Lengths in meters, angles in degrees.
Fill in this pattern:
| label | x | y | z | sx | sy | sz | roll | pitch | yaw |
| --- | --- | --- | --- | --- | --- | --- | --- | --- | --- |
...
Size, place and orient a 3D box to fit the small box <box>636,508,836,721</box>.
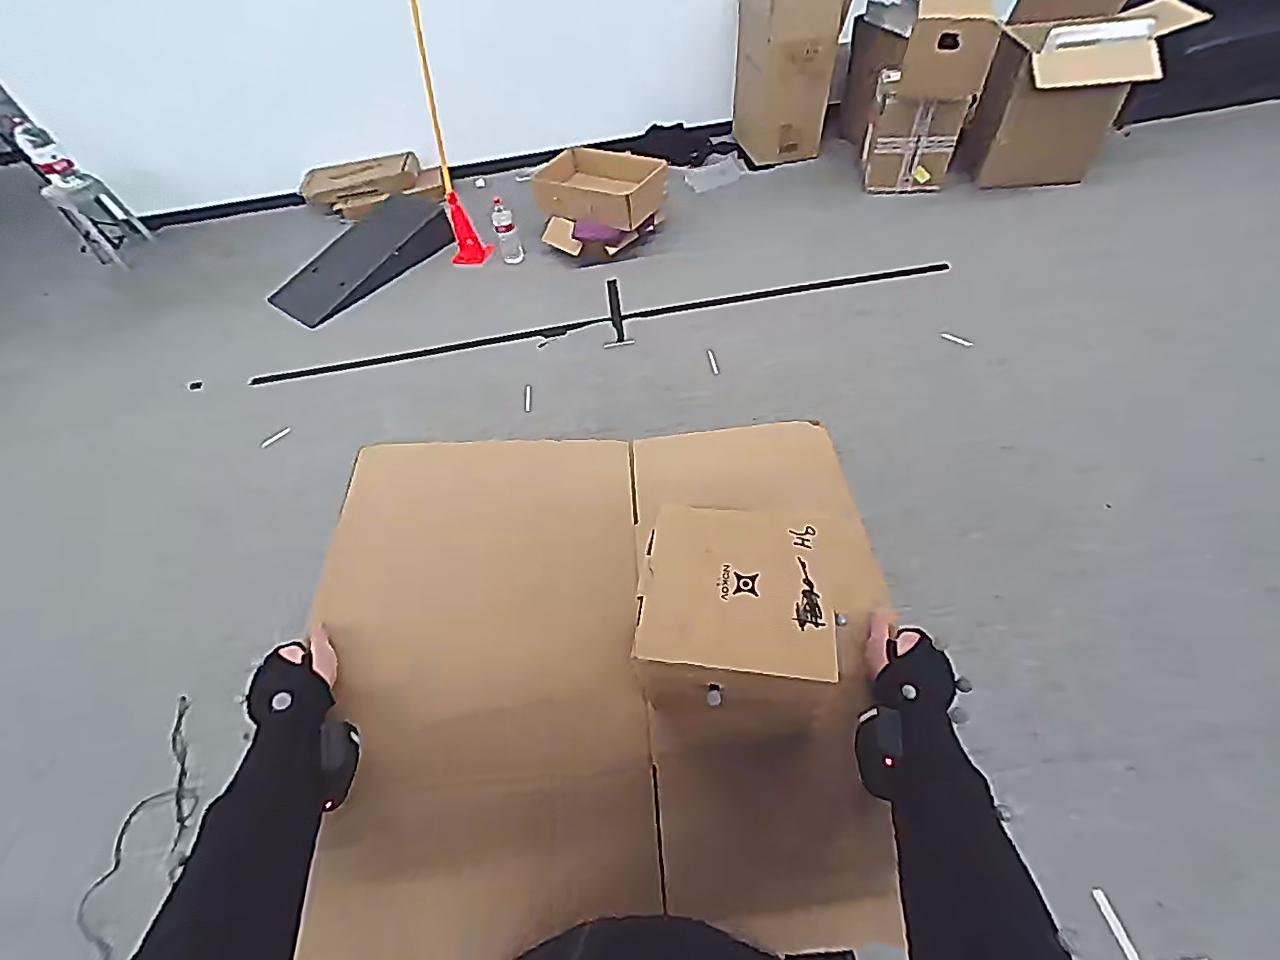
| label | x | y | z | sx | sy | sz | roll | pitch | yaw |
| --- | --- | --- | --- | --- | --- | --- | --- | --- | --- |
| small box | 0.104 | 0.146 | 0.579 | 0.179 | 0.176 | 0.168 | 3 | 54 | 12 |
